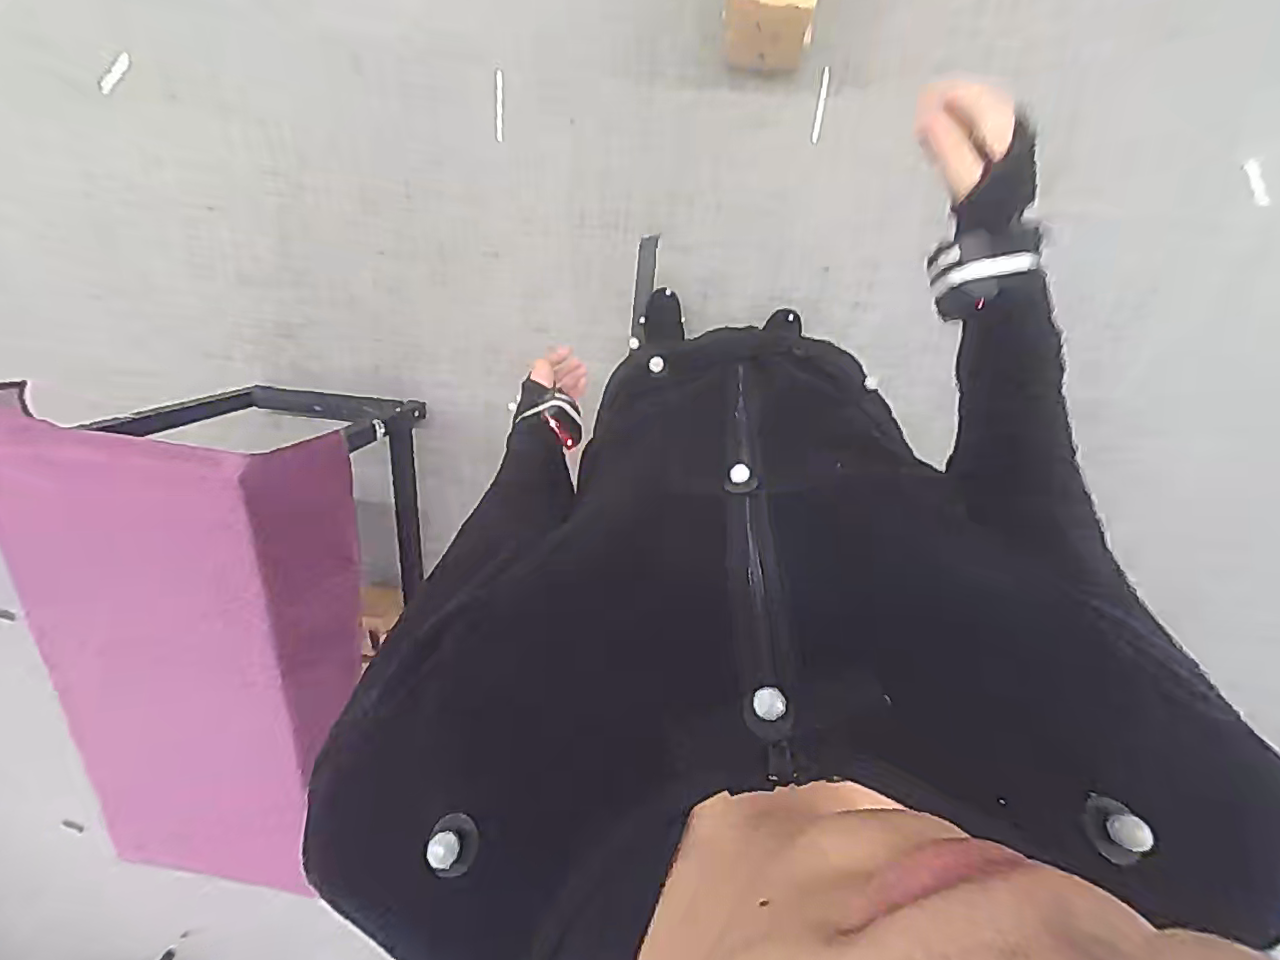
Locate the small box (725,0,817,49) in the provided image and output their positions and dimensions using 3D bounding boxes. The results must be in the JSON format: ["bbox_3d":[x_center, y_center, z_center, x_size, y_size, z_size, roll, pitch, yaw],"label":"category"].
[{"bbox_3d":[0.261,-0.974,1.036,0.168,0.176,0.179,11,112,3],"label":"small box"}]

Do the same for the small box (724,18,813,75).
[{"bbox_3d":[0.284,-1.019,1.191,0.179,0.176,0.168,7,111,6],"label":"small box"}]
